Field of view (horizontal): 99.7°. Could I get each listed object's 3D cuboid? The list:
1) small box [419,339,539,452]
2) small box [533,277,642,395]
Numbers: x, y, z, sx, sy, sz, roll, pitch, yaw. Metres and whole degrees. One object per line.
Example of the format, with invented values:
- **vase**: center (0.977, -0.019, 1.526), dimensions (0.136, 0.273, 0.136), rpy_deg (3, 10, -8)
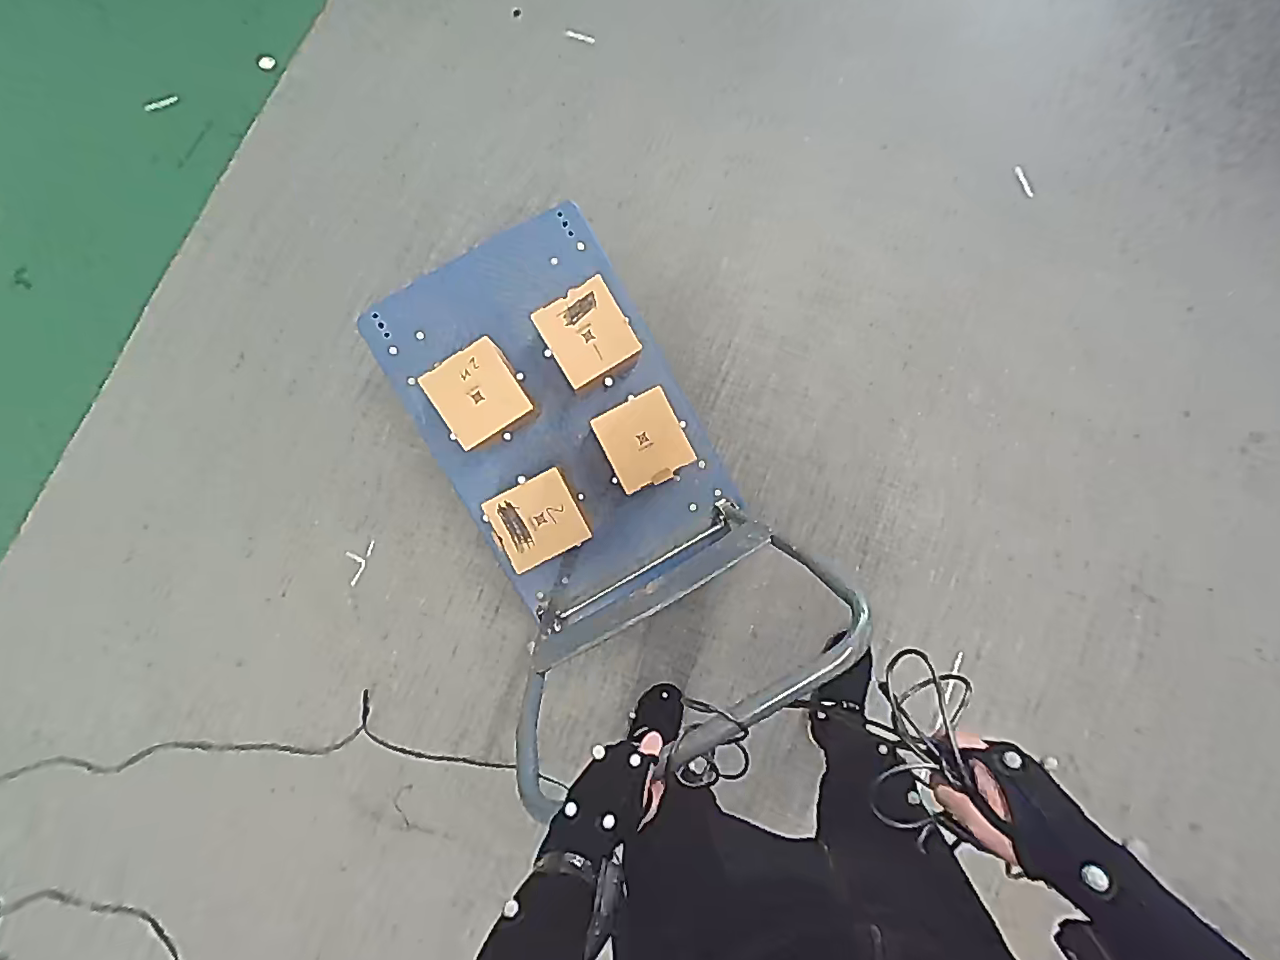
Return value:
- **small box**: center (-0.334, -0.176, 1.165), dimensions (0.168, 0.176, 0.179), rpy_deg (-32, 94, -2)
- **small box**: center (-0.111, -0.301, 1.171), dimensions (0.168, 0.176, 0.179), rpy_deg (-30, 95, -1)
